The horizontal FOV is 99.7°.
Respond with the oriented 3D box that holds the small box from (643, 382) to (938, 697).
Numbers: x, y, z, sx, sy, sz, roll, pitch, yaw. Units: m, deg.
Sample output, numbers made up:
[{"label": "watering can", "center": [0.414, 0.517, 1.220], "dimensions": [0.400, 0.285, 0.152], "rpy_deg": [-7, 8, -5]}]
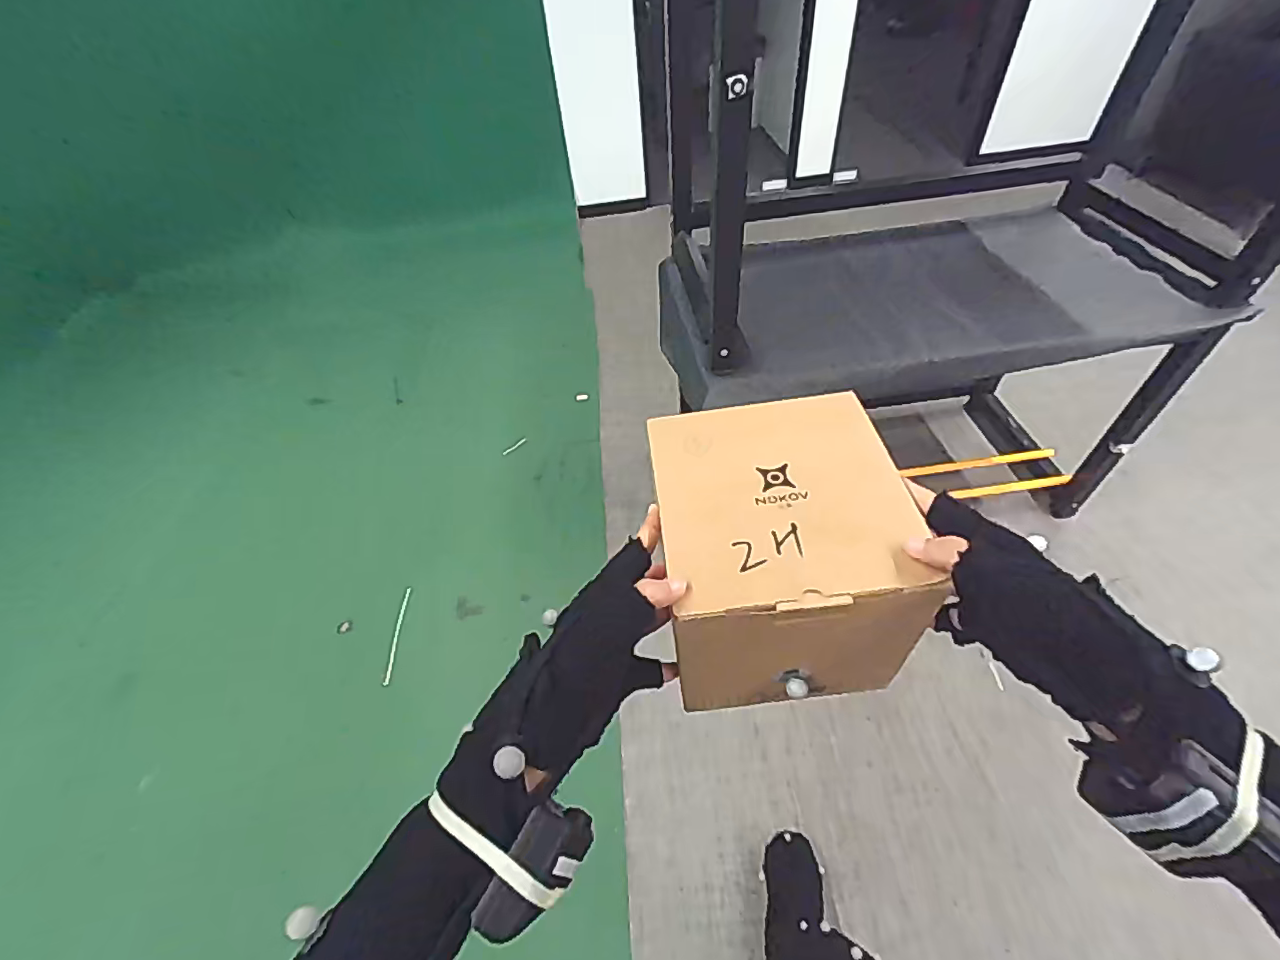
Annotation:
[{"label": "small box", "center": [0.095, 0.049, 0.430], "dimensions": [0.168, 0.176, 0.179], "rpy_deg": [-8, 48, 2]}]
